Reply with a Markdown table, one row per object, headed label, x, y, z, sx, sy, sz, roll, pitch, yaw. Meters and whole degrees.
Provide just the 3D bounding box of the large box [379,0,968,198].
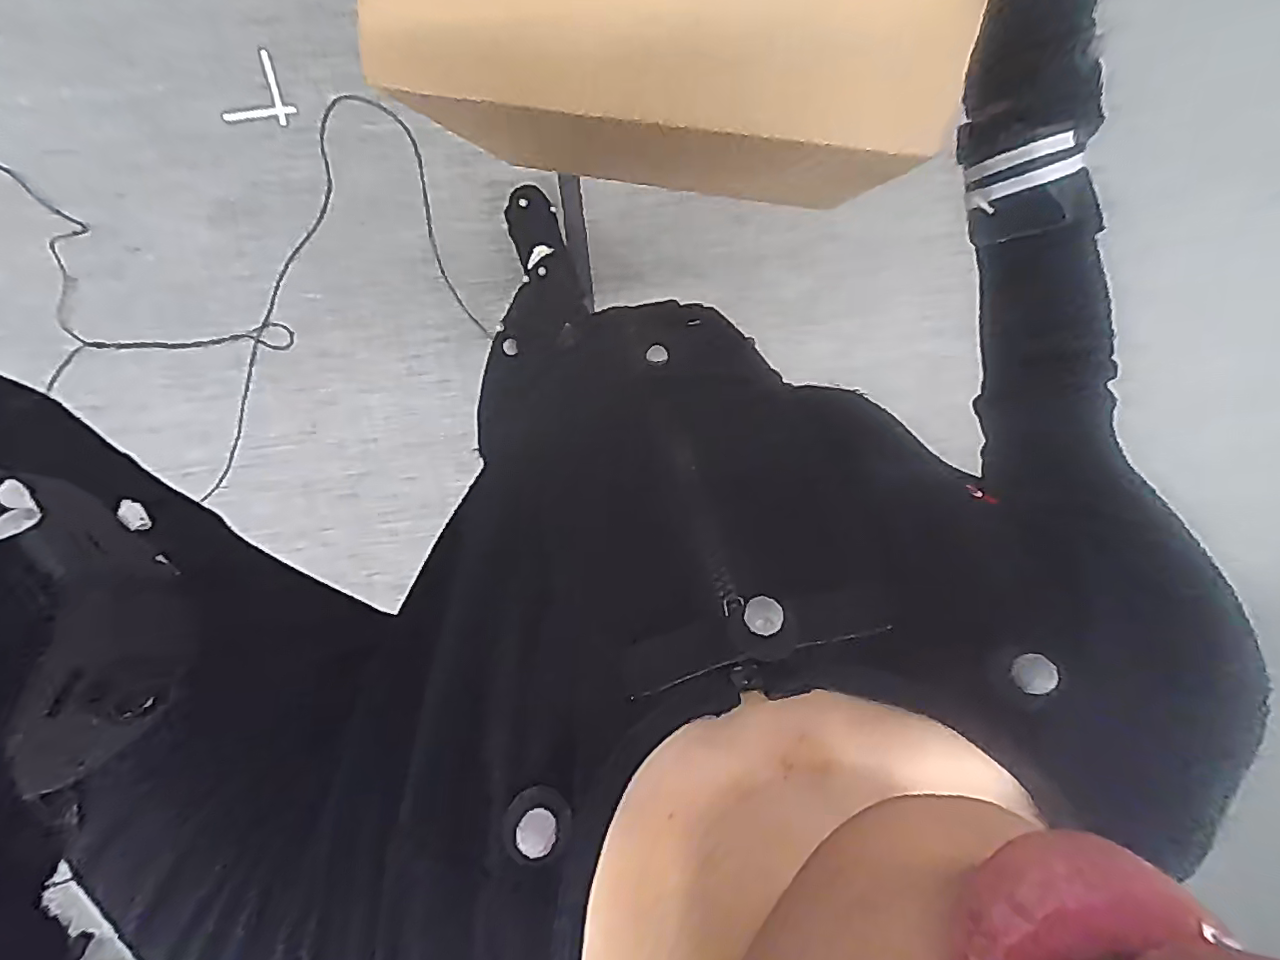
| label | x | y | z | sx | sy | sz | roll | pitch | yaw |
| --- | --- | --- | --- | --- | --- | --- | --- | --- | --- |
| large box | 0.037 | -0.456 | 0.471 | 0.408 | 0.320 | 0.320 | 9 | 112 | 2 |
